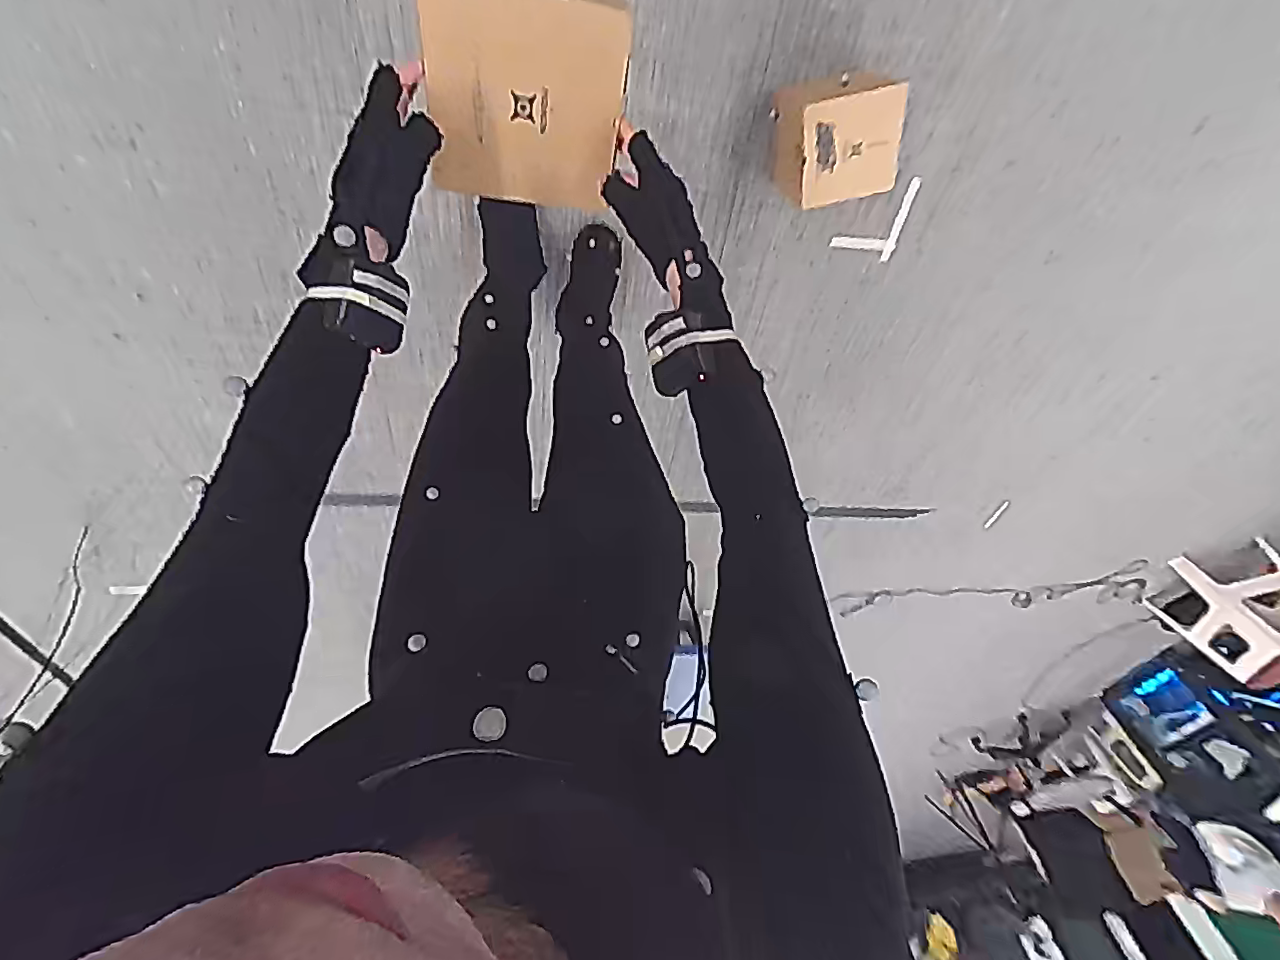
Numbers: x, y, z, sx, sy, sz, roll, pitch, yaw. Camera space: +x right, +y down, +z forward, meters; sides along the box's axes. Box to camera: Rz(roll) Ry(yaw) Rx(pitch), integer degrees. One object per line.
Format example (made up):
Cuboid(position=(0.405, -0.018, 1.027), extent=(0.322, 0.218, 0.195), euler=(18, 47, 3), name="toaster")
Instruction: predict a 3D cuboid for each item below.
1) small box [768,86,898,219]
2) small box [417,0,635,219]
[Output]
Cuboid(position=(0.345, -0.613, 1.009), extent=(0.179, 0.176, 0.168), euler=(-12, 133, 1), name="small box")
Cuboid(position=(-0.115, -0.388, 0.539), extent=(0.179, 0.176, 0.168), euler=(2, 137, -14), name="small box")
